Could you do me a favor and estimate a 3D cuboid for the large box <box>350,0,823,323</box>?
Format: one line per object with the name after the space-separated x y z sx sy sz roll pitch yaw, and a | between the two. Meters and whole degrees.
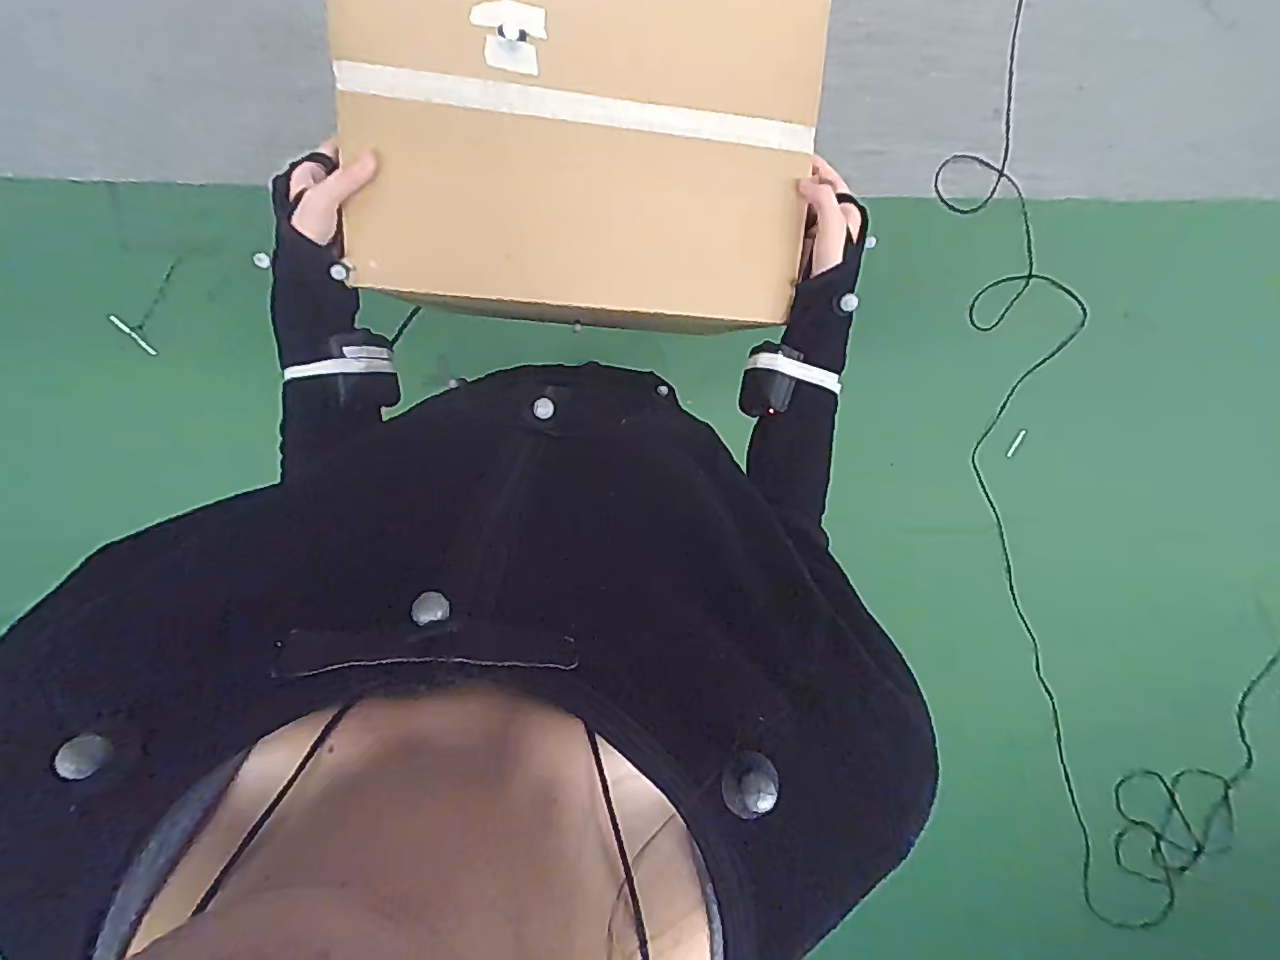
-0.060 -0.353 0.618 0.408 0.320 0.320 2 103 -9 | large box
